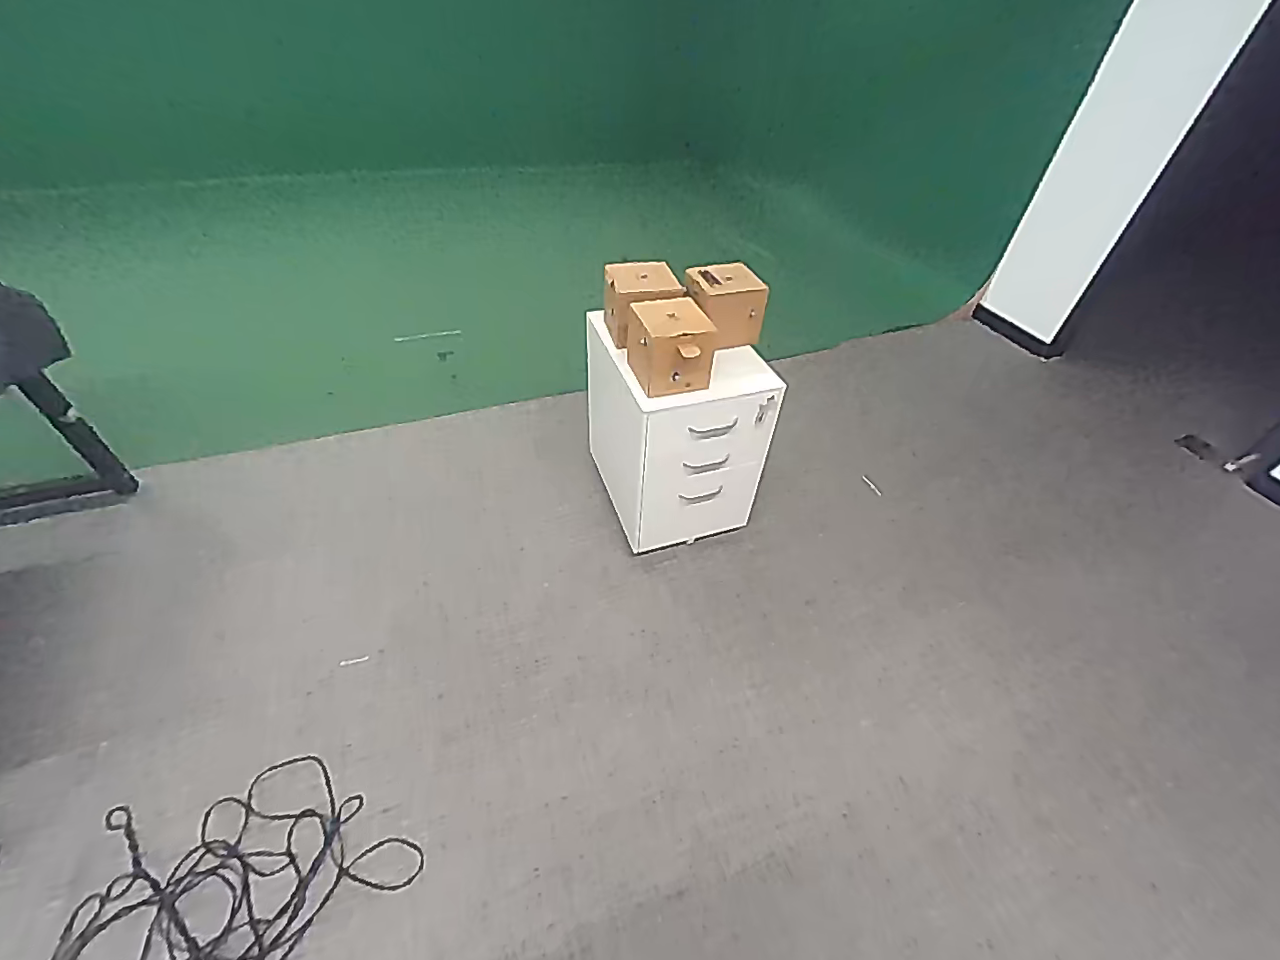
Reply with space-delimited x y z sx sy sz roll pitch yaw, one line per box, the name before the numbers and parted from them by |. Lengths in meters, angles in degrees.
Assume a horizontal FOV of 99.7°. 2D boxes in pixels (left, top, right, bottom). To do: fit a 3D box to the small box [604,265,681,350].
small box | 0.001 -0.475 1.496 0.179 0.176 0.168 -8 47 -14
